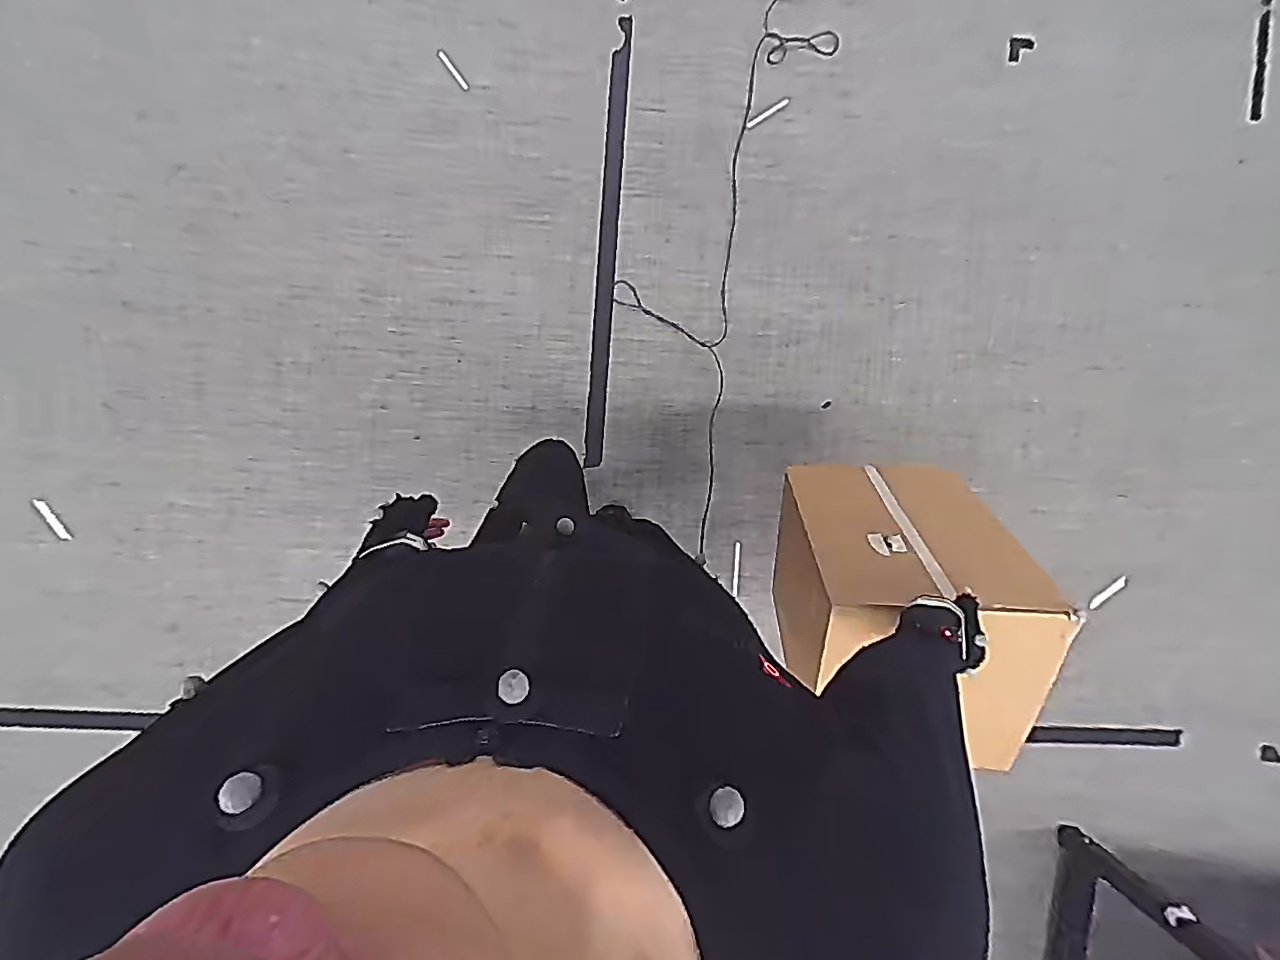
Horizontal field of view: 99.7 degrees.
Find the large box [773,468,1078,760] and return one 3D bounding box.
[{"bbox_3d":[0.432,0.208,0.953,0.320,0.408,0.320,1,119,5],"label":"large box"}]
